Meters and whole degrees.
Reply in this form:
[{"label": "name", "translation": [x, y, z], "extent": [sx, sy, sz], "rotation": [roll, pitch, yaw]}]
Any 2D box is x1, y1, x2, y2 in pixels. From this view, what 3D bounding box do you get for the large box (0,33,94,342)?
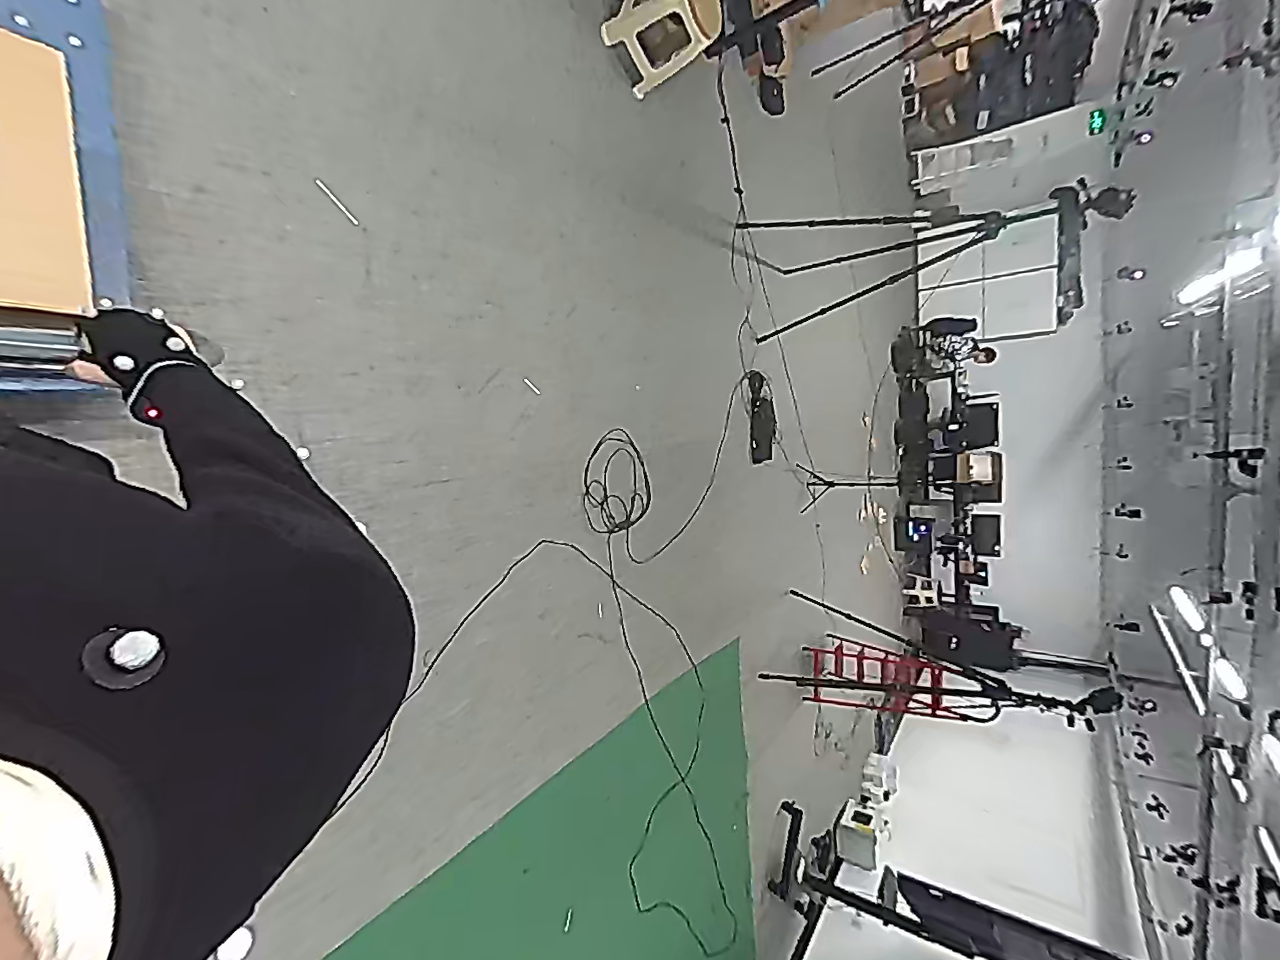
[{"label": "large box", "translation": [-1.098, -0.443, 0.818], "extent": [0.320, 0.320, 0.408], "rotation": [-9, 97, -53]}]
